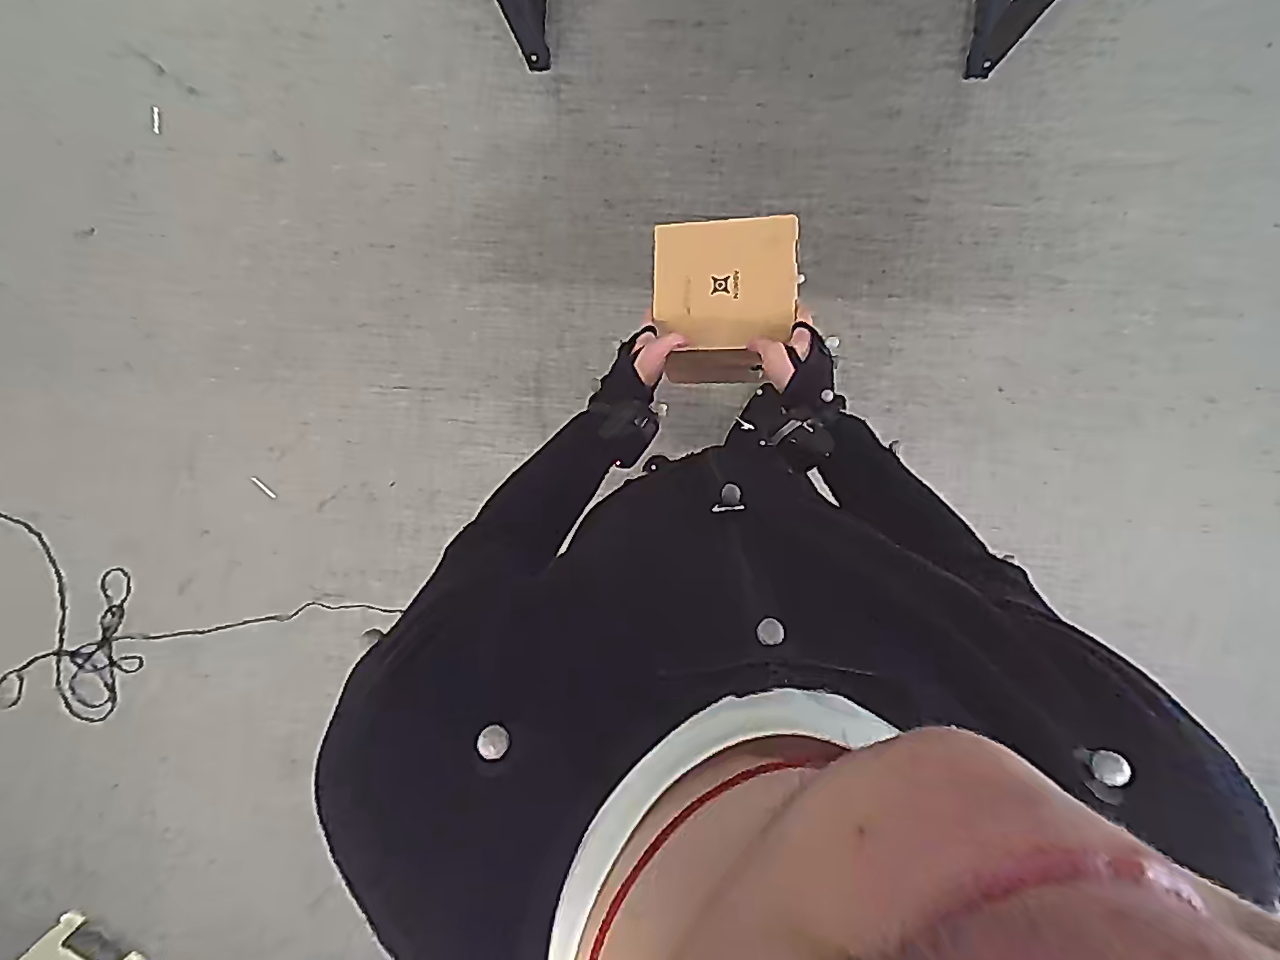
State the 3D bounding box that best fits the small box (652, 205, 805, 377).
[{"bbox_3d":[0.118,-0.240,0.723,0.179,0.176,0.168,2,85,11],"label":"small box"}]
